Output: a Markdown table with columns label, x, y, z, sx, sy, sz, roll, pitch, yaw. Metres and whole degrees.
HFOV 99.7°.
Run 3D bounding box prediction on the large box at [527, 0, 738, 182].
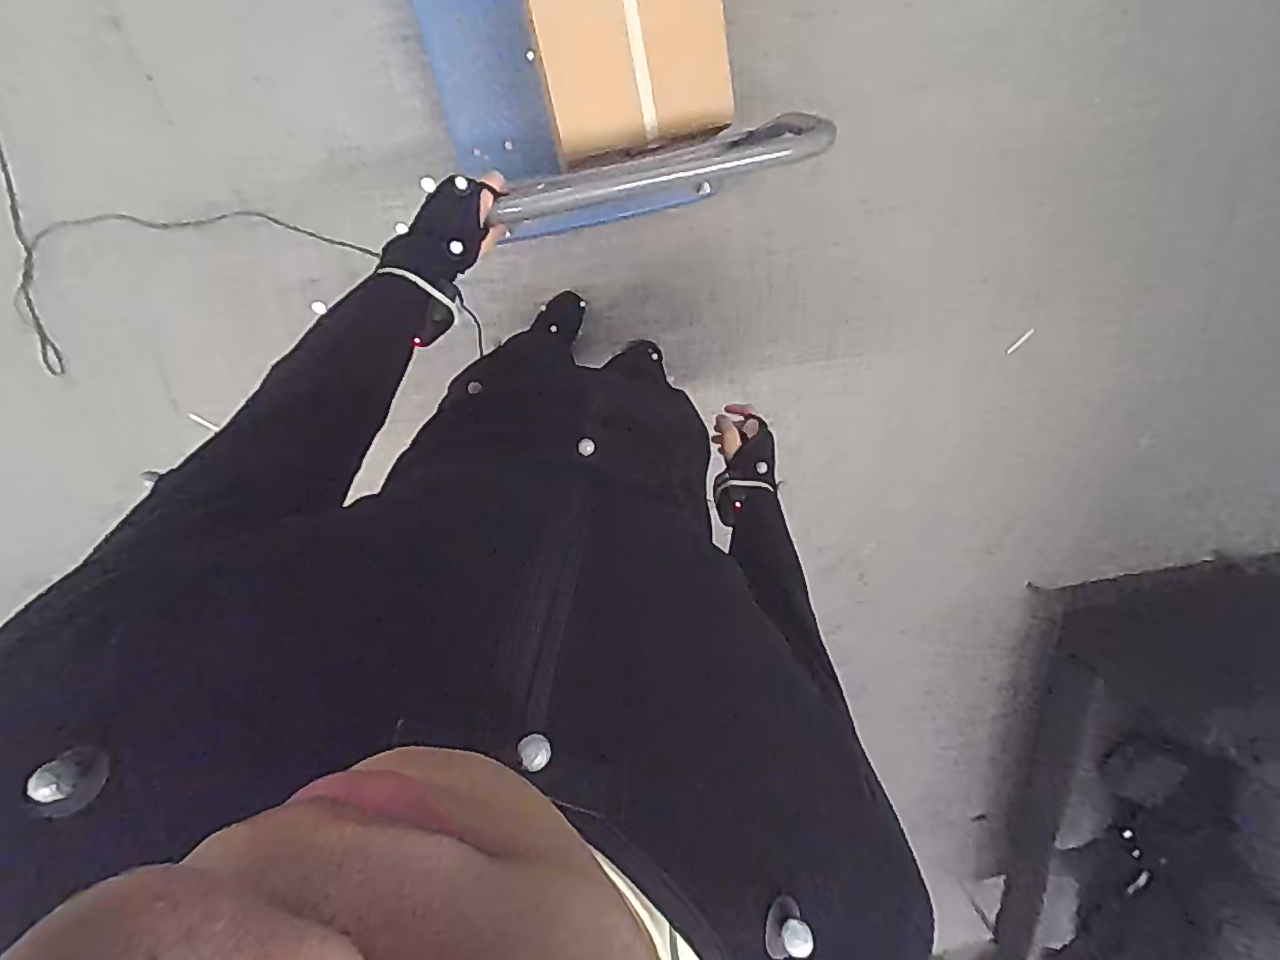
| label | x | y | z | sx | sy | sz | roll | pitch | yaw |
| --- | --- | --- | --- | --- | --- | --- | --- | --- | --- |
| large box | -0.033 | -0.826 | 1.008 | 0.320 | 0.320 | 0.408 | -14 | 114 | -3 |
